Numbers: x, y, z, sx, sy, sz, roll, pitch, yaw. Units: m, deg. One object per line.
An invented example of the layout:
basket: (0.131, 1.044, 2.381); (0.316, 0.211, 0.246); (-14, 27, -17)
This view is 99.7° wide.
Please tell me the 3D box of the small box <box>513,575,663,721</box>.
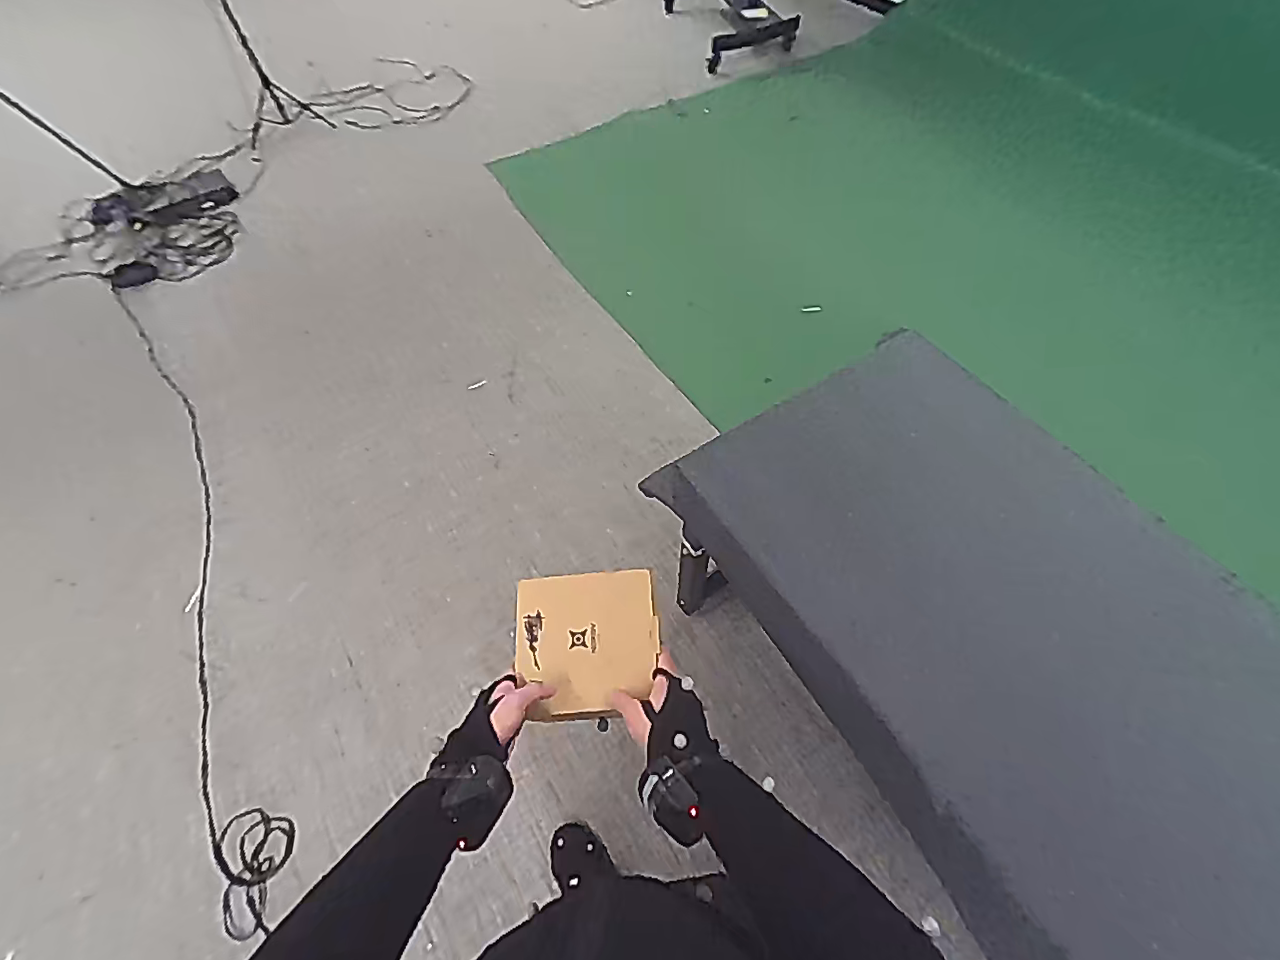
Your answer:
small box: (-0.060, 0.233, 0.732); (0.179, 0.176, 0.168); (-4, 64, 2)
